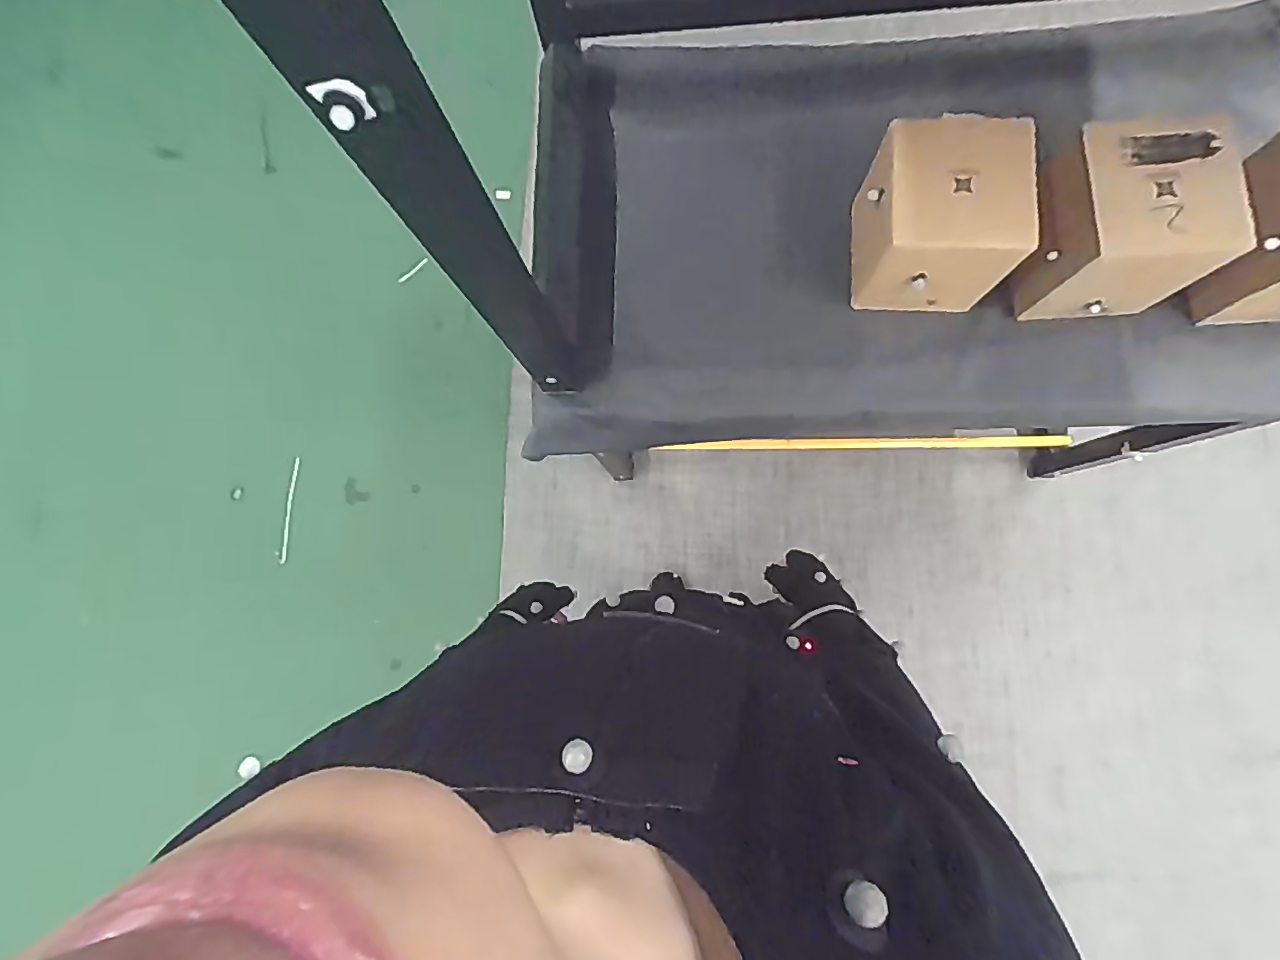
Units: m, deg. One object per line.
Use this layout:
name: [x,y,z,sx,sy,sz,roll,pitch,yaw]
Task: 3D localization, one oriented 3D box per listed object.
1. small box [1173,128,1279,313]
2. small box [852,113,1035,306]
small box: [0.839,-0.323,0.681,0.168,0.176,0.179,-2,80,5]
small box: [0.395,-0.352,0.730,0.168,0.176,0.179,3,81,6]
